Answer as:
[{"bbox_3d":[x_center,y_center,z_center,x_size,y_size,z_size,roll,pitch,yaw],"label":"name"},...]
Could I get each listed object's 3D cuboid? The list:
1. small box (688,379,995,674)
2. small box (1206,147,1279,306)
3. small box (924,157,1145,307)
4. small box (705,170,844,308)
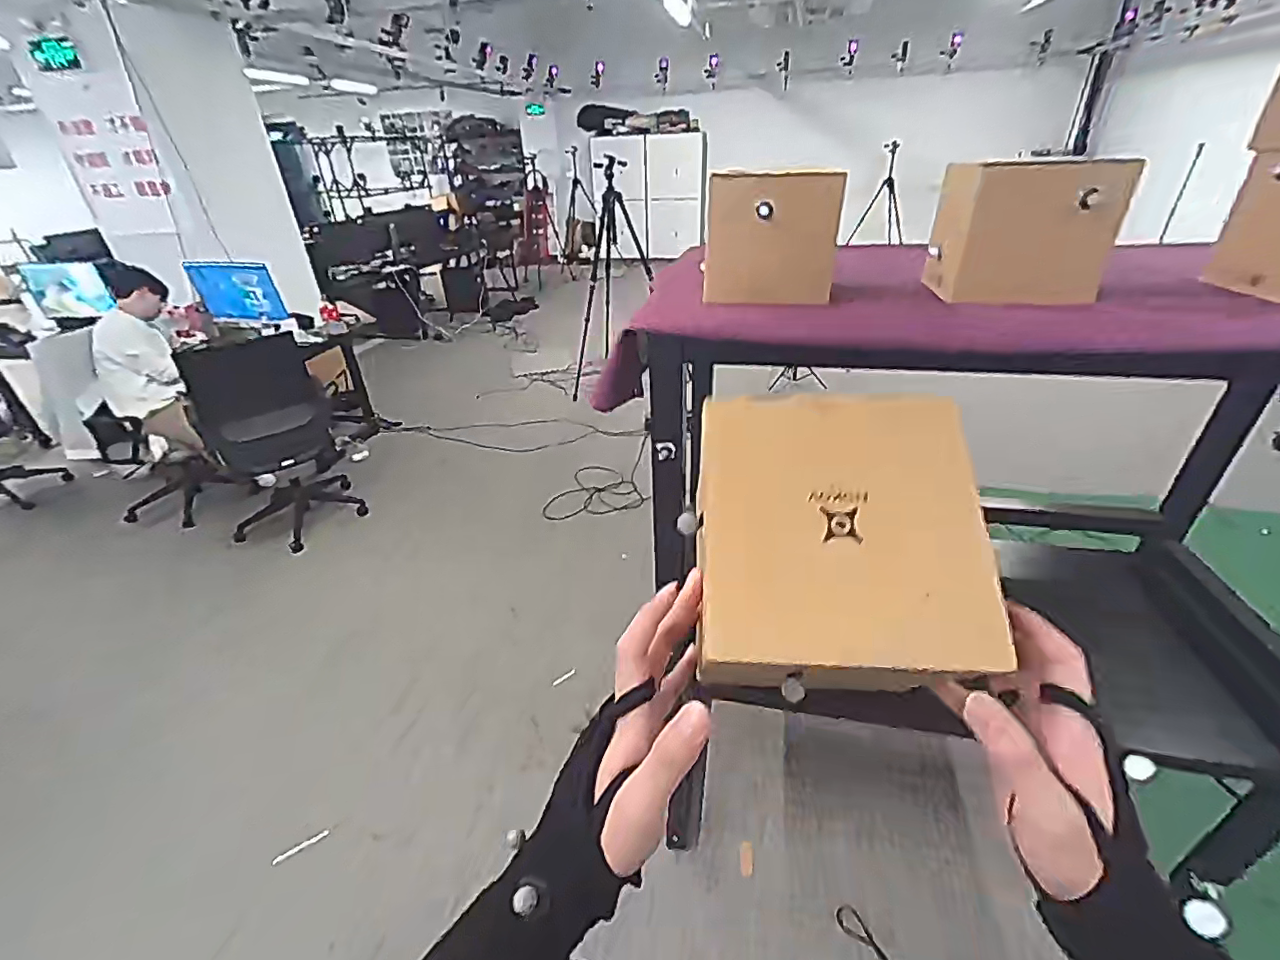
[{"bbox_3d":[0.122,0.045,0.402,0.168,0.176,0.179,0,65,6],"label":"small box"},{"bbox_3d":[0.879,-0.312,0.662,0.179,0.176,0.168,4,30,12],"label":"small box"},{"bbox_3d":[0.515,-0.339,0.740,0.179,0.176,0.168,4,31,12],"label":"small box"},{"bbox_3d":[0.188,-0.355,0.797,0.179,0.176,0.168,3,32,9],"label":"small box"}]
